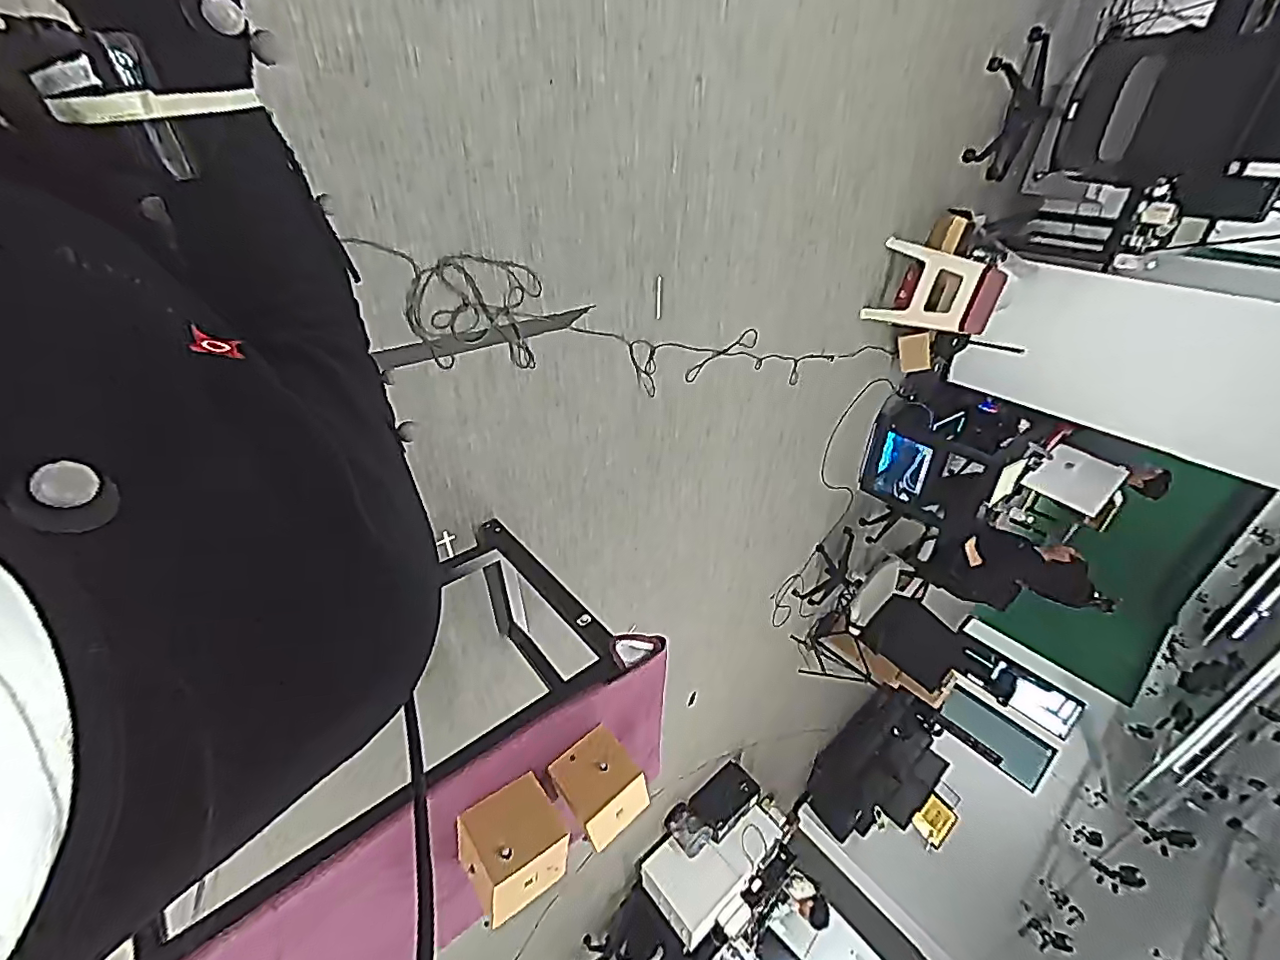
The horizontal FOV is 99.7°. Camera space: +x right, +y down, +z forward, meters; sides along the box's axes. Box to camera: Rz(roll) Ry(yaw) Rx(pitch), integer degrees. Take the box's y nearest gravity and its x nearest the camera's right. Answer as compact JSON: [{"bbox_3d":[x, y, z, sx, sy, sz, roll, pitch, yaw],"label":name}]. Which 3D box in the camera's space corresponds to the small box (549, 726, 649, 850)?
[{"bbox_3d":[-0.099,0.729,1.299,0.168,0.176,0.179,-32,134,-27],"label":"small box"}]

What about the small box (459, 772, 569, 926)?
[{"bbox_3d":[-0.274,0.776,1.154,0.179,0.176,0.168,-16,127,-38],"label":"small box"}]
